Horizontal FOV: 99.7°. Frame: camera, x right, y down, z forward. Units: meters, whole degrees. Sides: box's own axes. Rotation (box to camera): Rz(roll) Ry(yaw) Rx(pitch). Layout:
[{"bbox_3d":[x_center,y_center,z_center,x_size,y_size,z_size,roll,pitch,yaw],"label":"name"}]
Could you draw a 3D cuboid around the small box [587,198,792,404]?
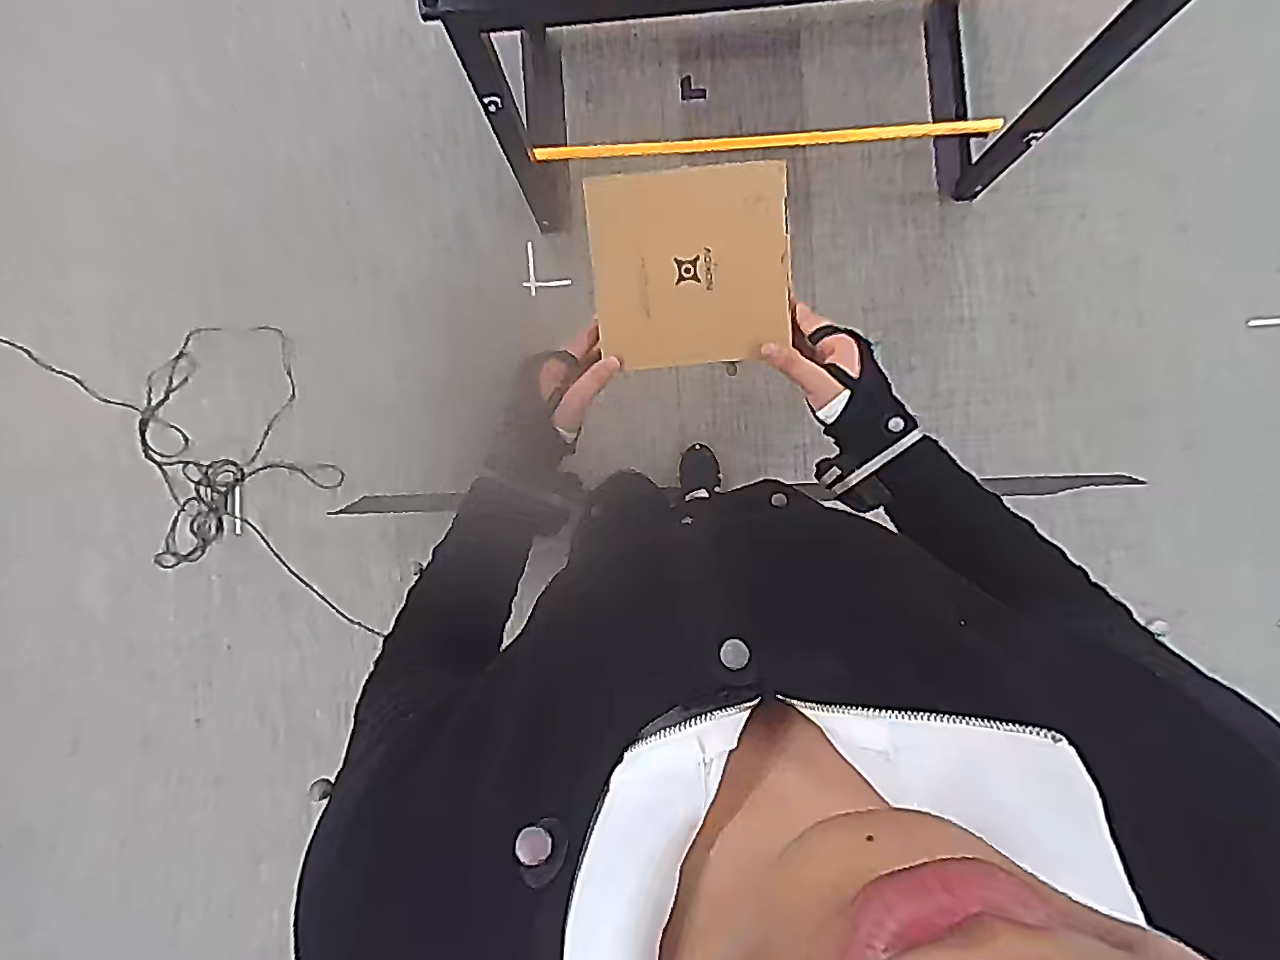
[{"bbox_3d":[0.045,-0.175,0.564,0.179,0.176,0.168,-6,101,1],"label":"small box"}]
